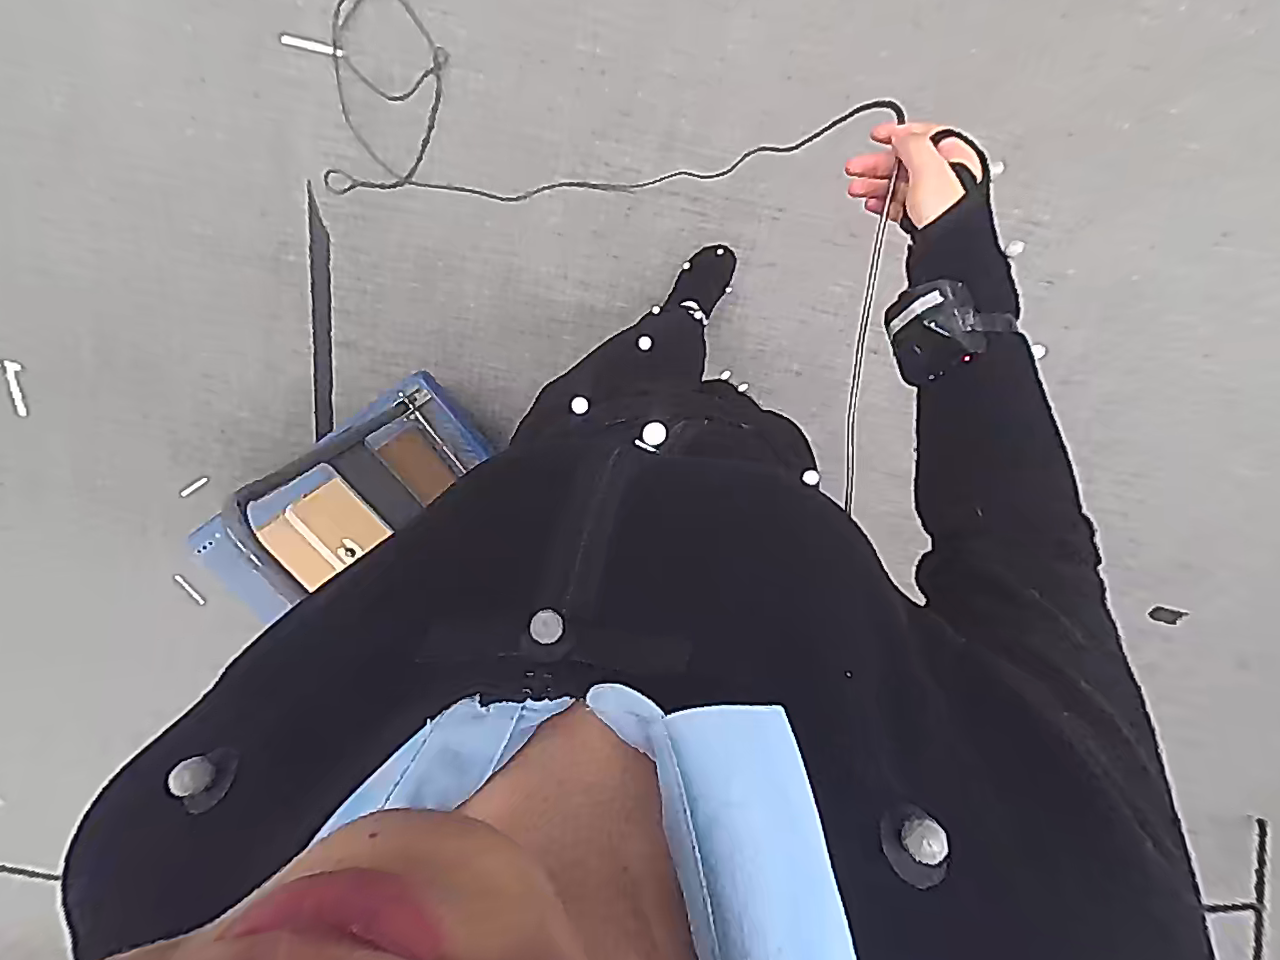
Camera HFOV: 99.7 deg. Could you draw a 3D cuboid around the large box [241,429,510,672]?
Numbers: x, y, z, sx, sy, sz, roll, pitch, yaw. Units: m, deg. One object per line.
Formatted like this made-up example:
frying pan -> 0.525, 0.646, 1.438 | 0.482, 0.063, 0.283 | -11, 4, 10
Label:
large box -> -0.578, 0.155, 1.265 | 0.320, 0.320, 0.408 | -30, 108, 14
